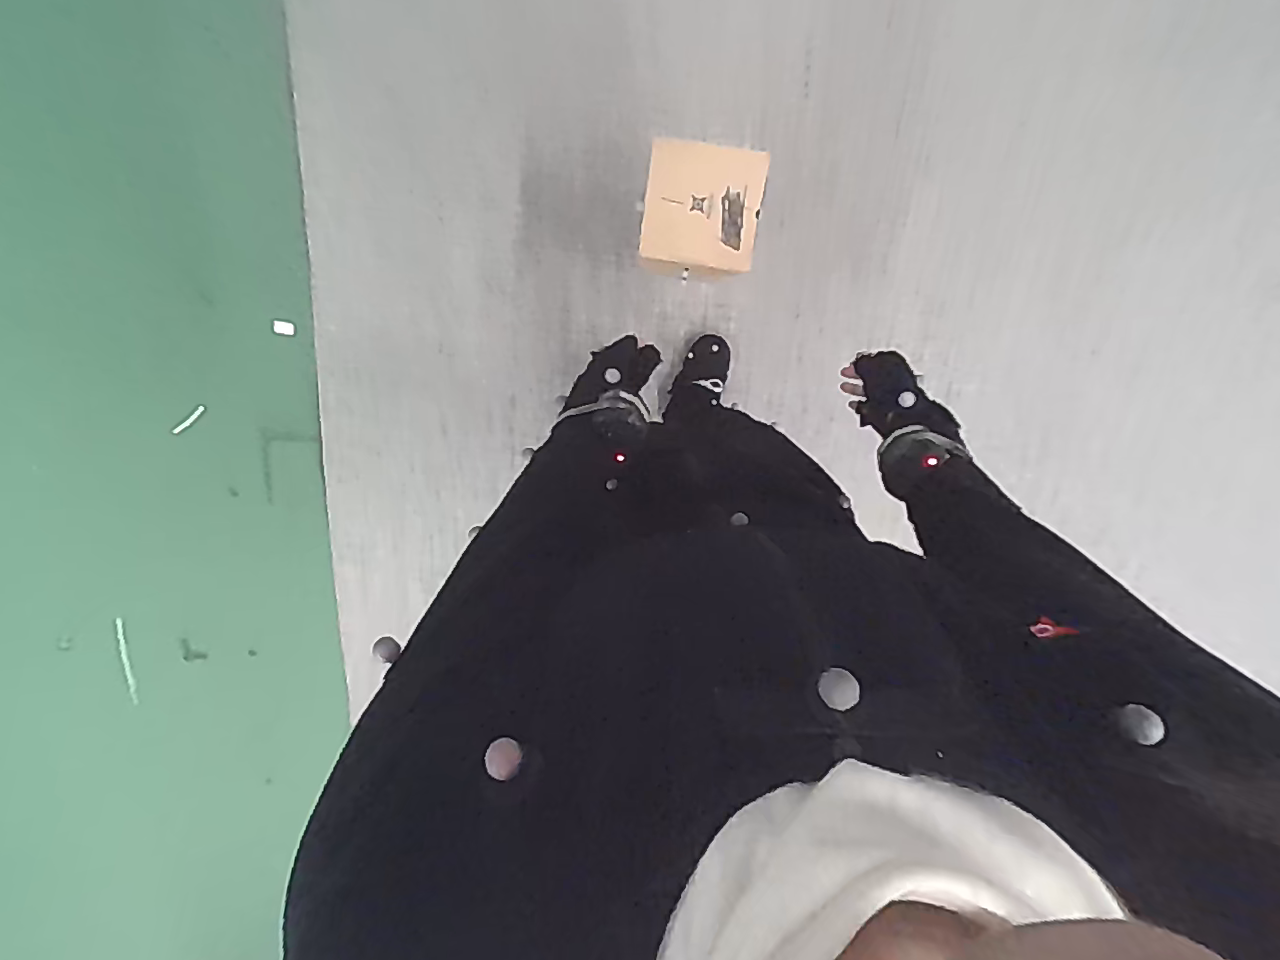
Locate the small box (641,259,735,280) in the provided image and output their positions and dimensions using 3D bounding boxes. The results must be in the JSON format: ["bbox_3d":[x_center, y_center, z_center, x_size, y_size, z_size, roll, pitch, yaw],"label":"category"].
[{"bbox_3d":[0.102,-0.486,1.040,0.179,0.176,0.168,10,108,-3],"label":"small box"}]

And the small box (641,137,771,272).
[{"bbox_3d":[0.096,-0.436,0.883,0.179,0.176,0.168,5,108,-2],"label":"small box"}]
